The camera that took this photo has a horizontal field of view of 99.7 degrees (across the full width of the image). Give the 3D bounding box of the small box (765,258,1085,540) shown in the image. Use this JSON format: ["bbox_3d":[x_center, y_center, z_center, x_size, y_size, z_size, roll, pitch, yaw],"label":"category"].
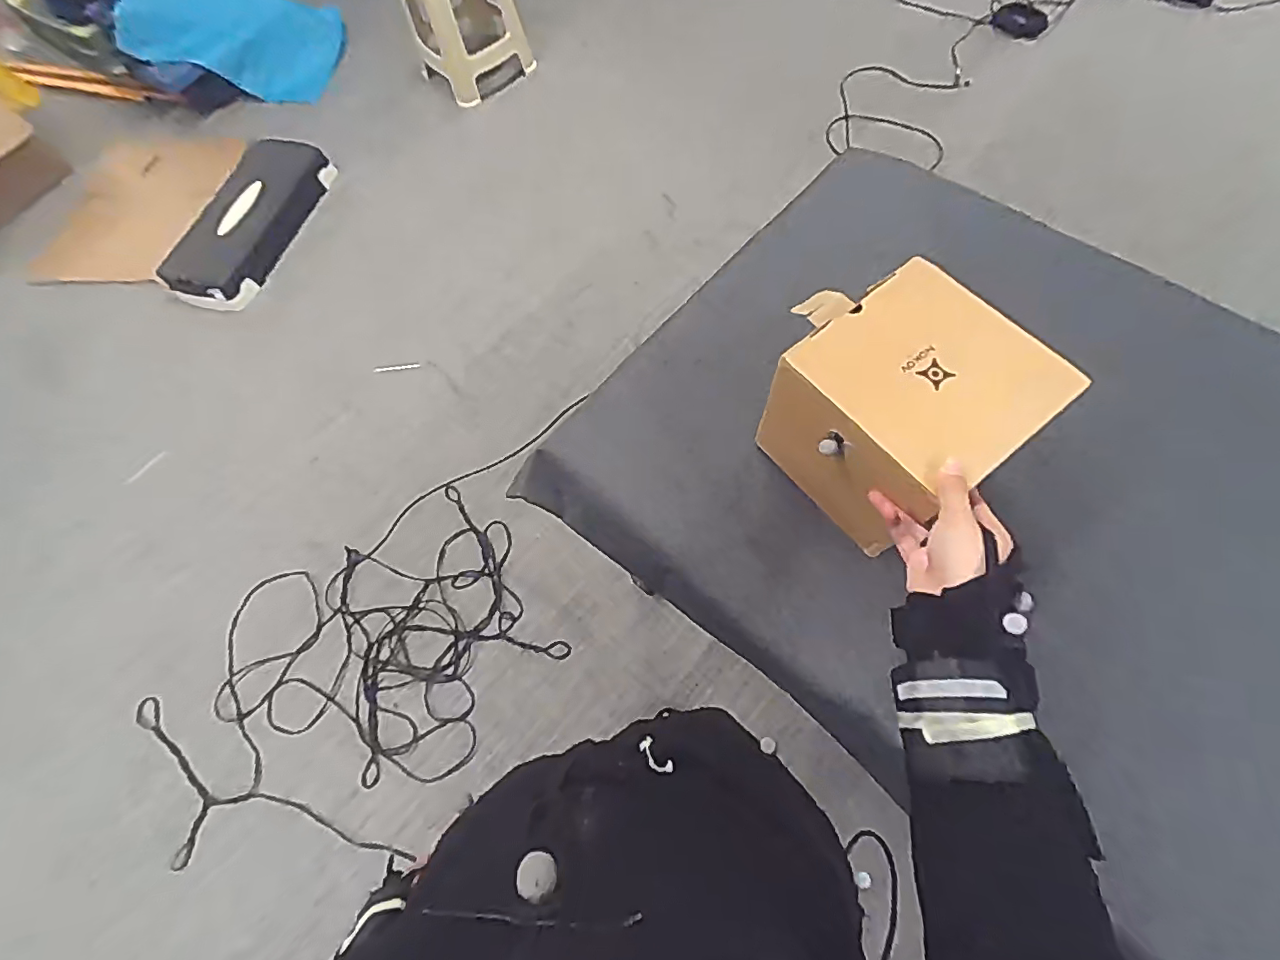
[{"bbox_3d":[0.243,-0.061,0.514,0.168,0.176,0.179,-37,70,-10],"label":"small box"}]
